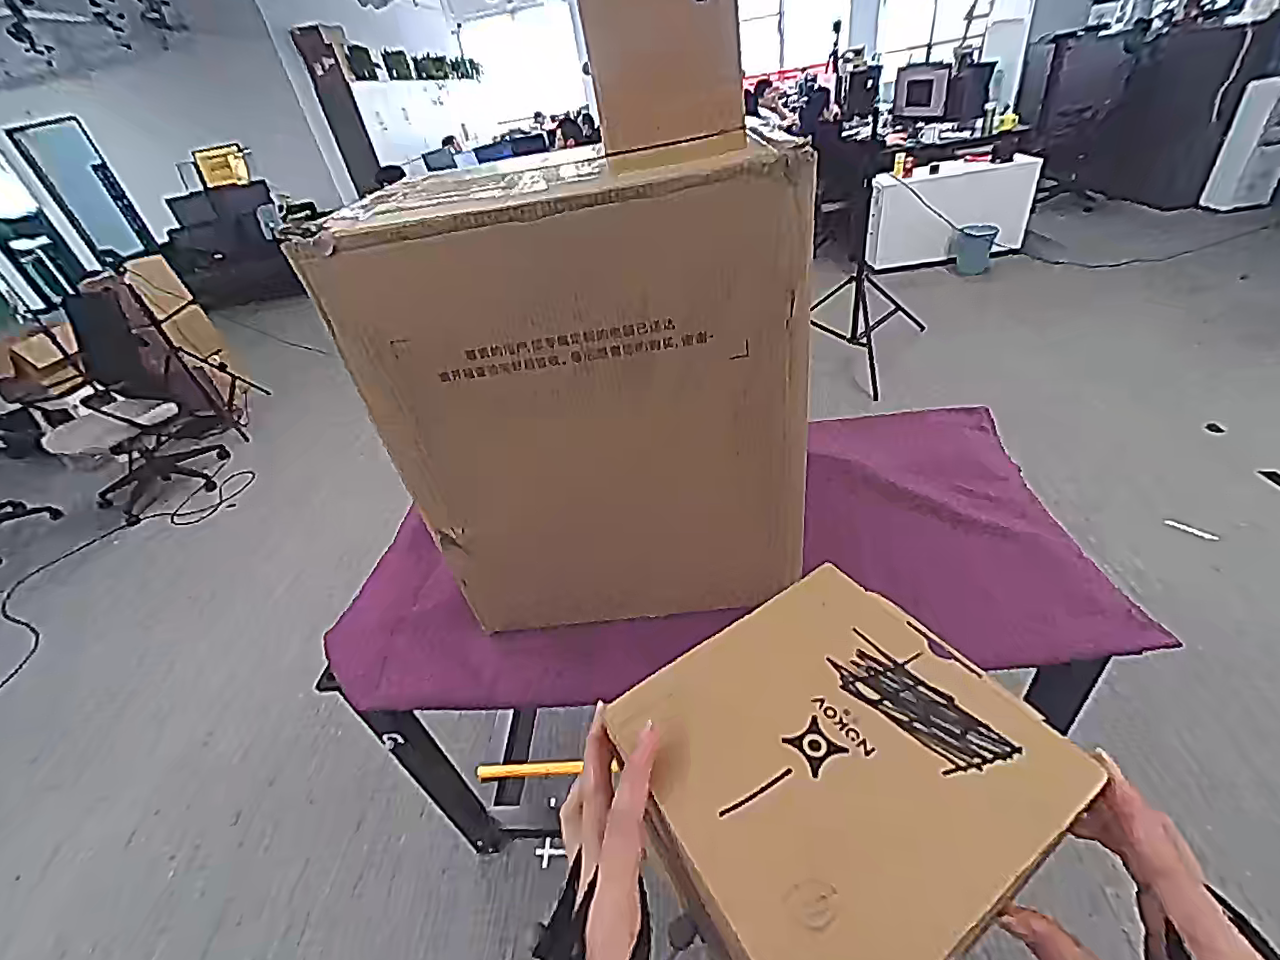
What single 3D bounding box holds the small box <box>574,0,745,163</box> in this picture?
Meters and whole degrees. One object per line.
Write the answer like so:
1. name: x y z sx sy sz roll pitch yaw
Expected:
1. small box: 0.029 -0.508 0.671 0.179 0.176 0.168 -7 36 6
